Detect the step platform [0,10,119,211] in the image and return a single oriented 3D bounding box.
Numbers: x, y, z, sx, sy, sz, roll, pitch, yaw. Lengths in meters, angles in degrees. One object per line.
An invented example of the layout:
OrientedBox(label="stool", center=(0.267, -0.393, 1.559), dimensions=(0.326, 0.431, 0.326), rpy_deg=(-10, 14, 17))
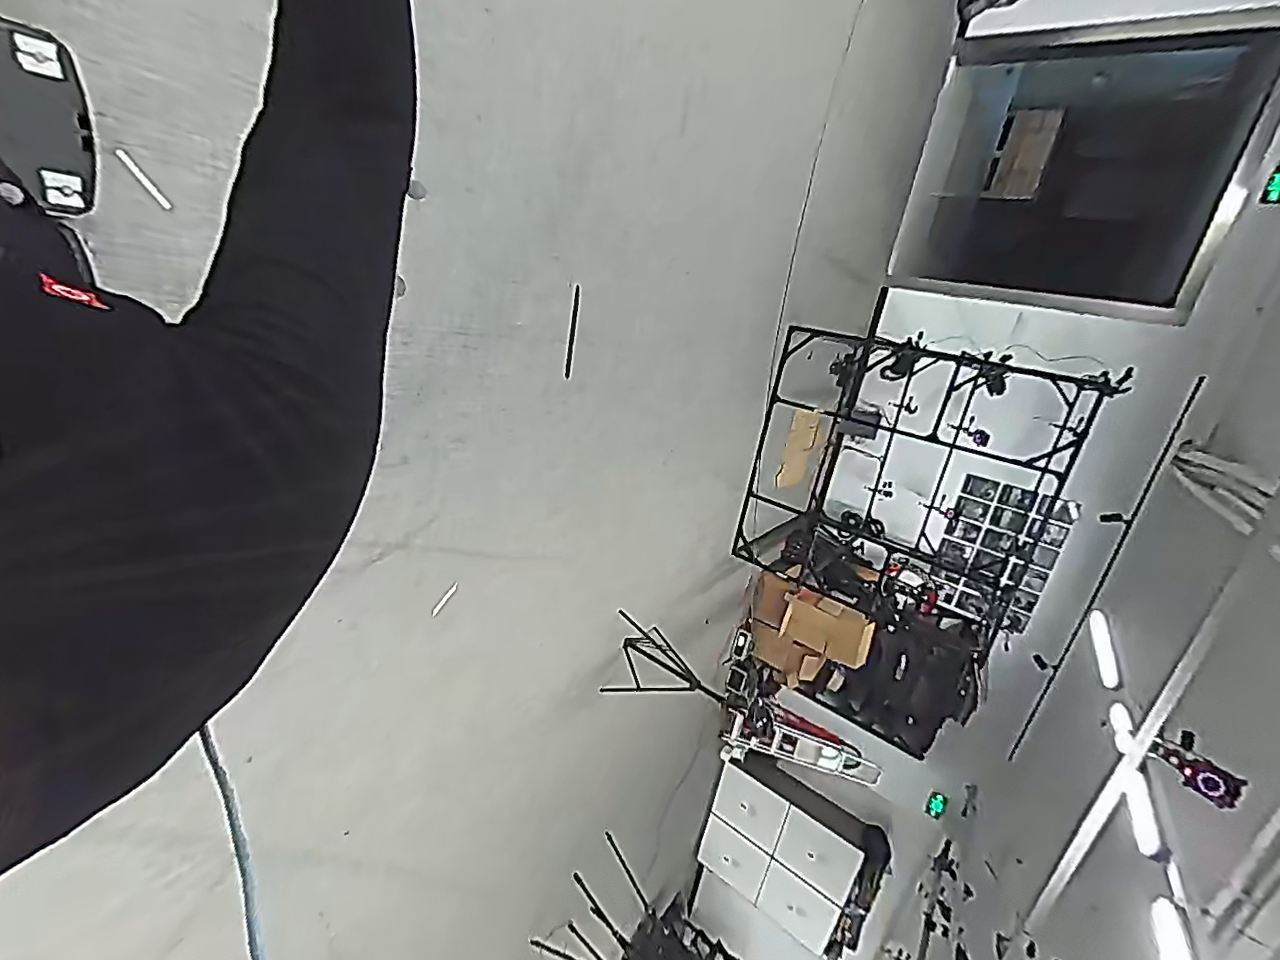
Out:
OrientedBox(label="step platform", center=(-1.210, -0.596, 0.761), dimensions=(0.684, 0.204, 0.286), rpy_deg=(-19, 124, -53))
